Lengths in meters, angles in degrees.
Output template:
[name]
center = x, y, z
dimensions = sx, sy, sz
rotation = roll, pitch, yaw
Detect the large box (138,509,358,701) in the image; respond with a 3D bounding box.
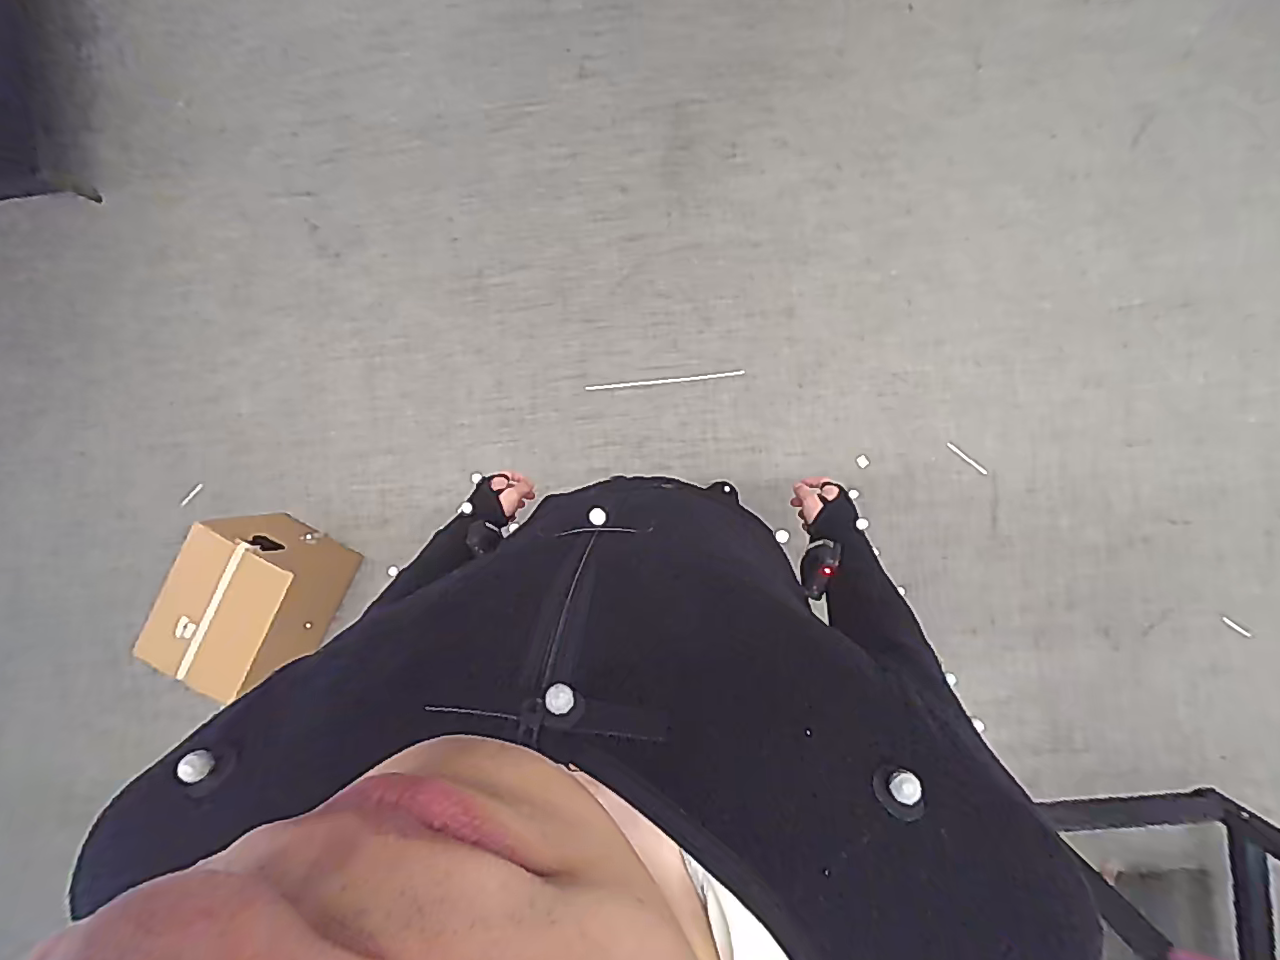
[large box]
center = -1.109, 0.336, 1.569
dimensions = 0.320, 0.320, 0.408
rotation = 27, 94, 3
